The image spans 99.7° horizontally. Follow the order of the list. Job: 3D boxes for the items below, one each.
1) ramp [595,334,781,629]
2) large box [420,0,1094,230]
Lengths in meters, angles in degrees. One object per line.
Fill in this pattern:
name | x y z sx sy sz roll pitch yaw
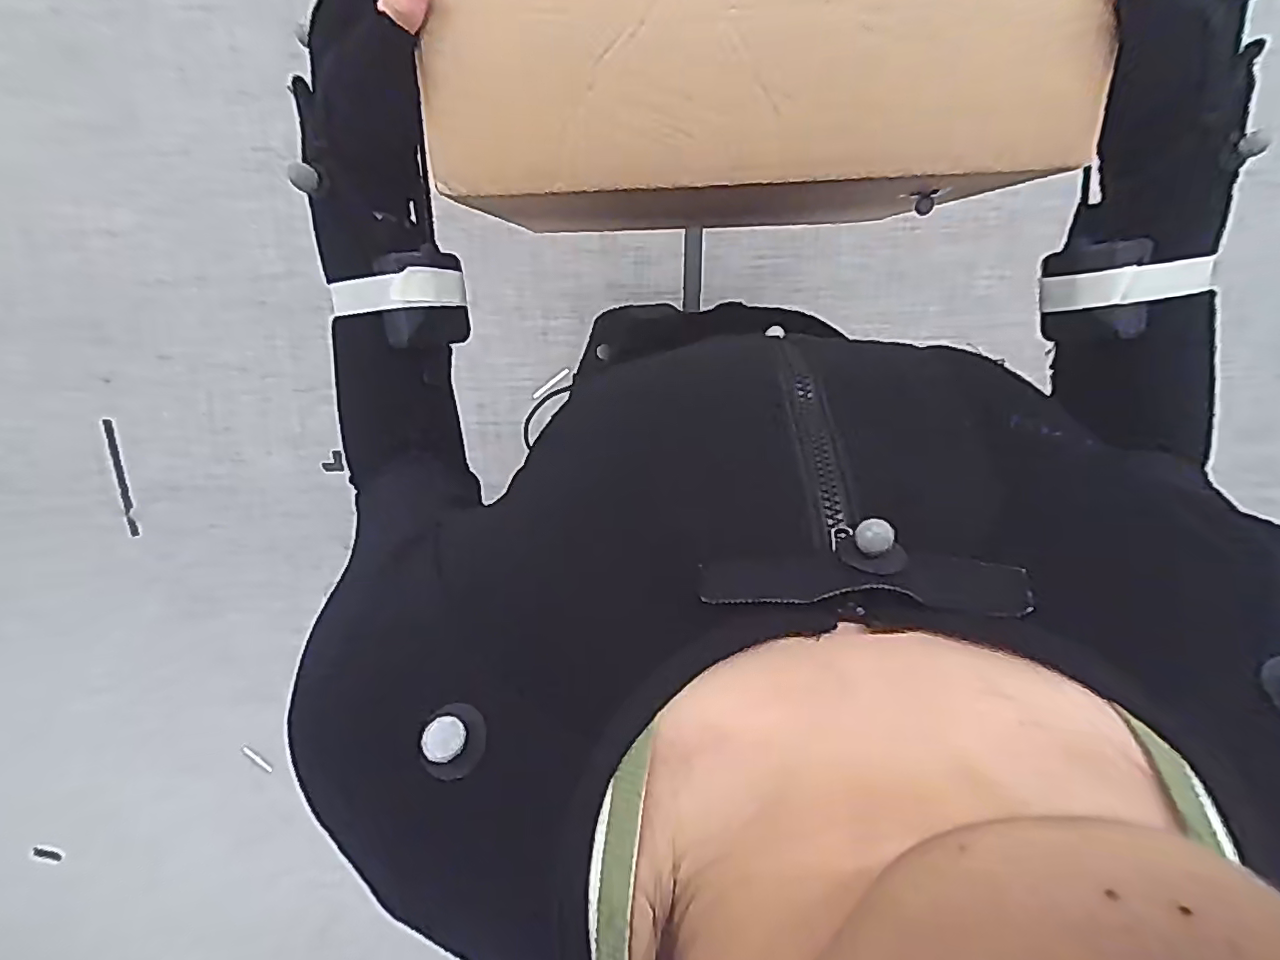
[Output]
ramp | 0.134 0.065 1.636 0.509 0.206 0.991 -2 107 2
large box | 0.069 -0.388 0.436 0.408 0.320 0.320 -2 110 1
